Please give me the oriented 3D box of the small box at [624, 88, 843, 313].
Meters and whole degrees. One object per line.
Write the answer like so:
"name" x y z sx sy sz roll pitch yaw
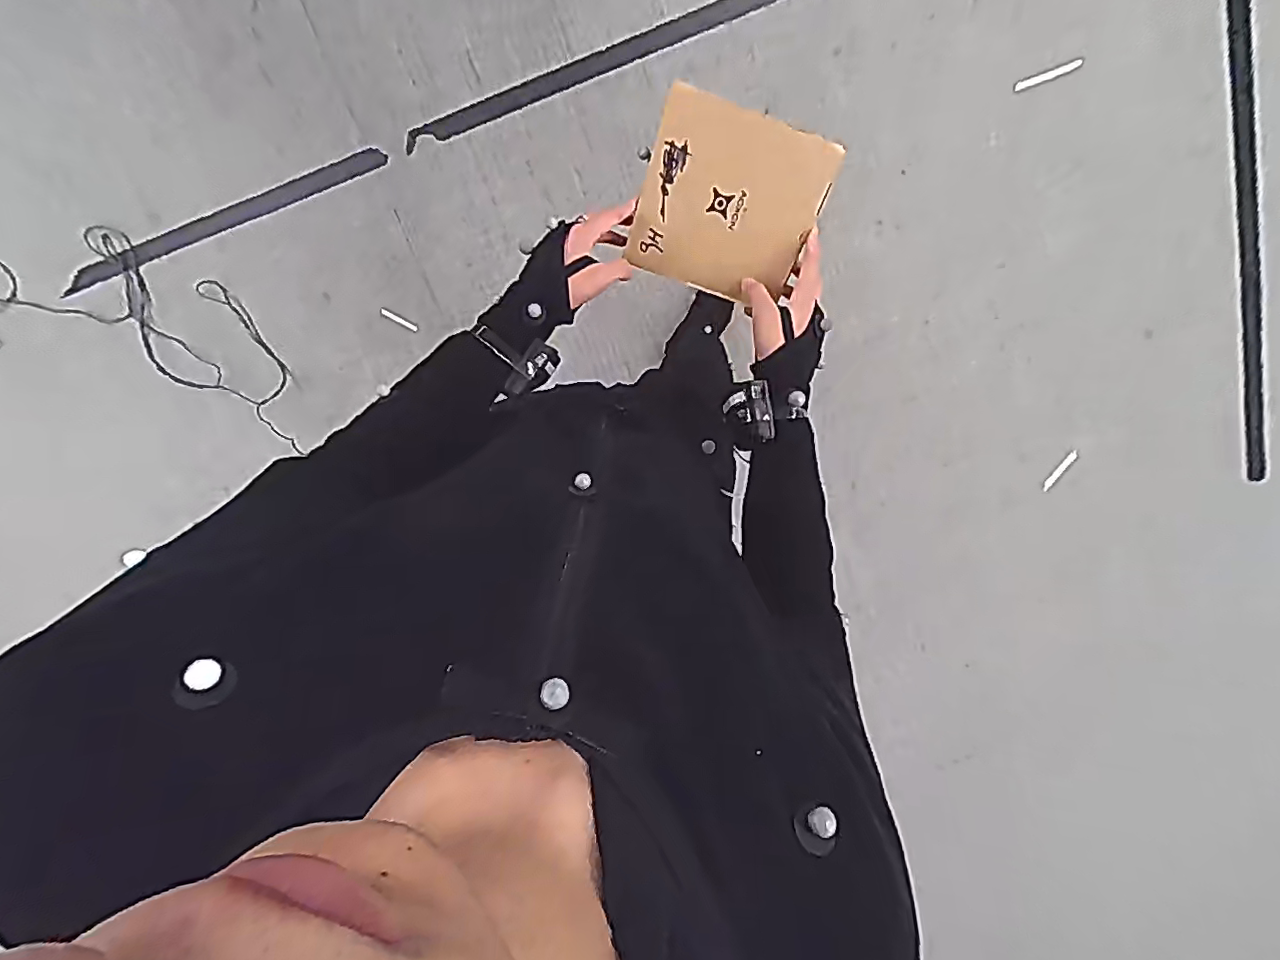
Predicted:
"small box" 0.093 -0.316 0.615 0.179 0.176 0.168 17 122 -7
